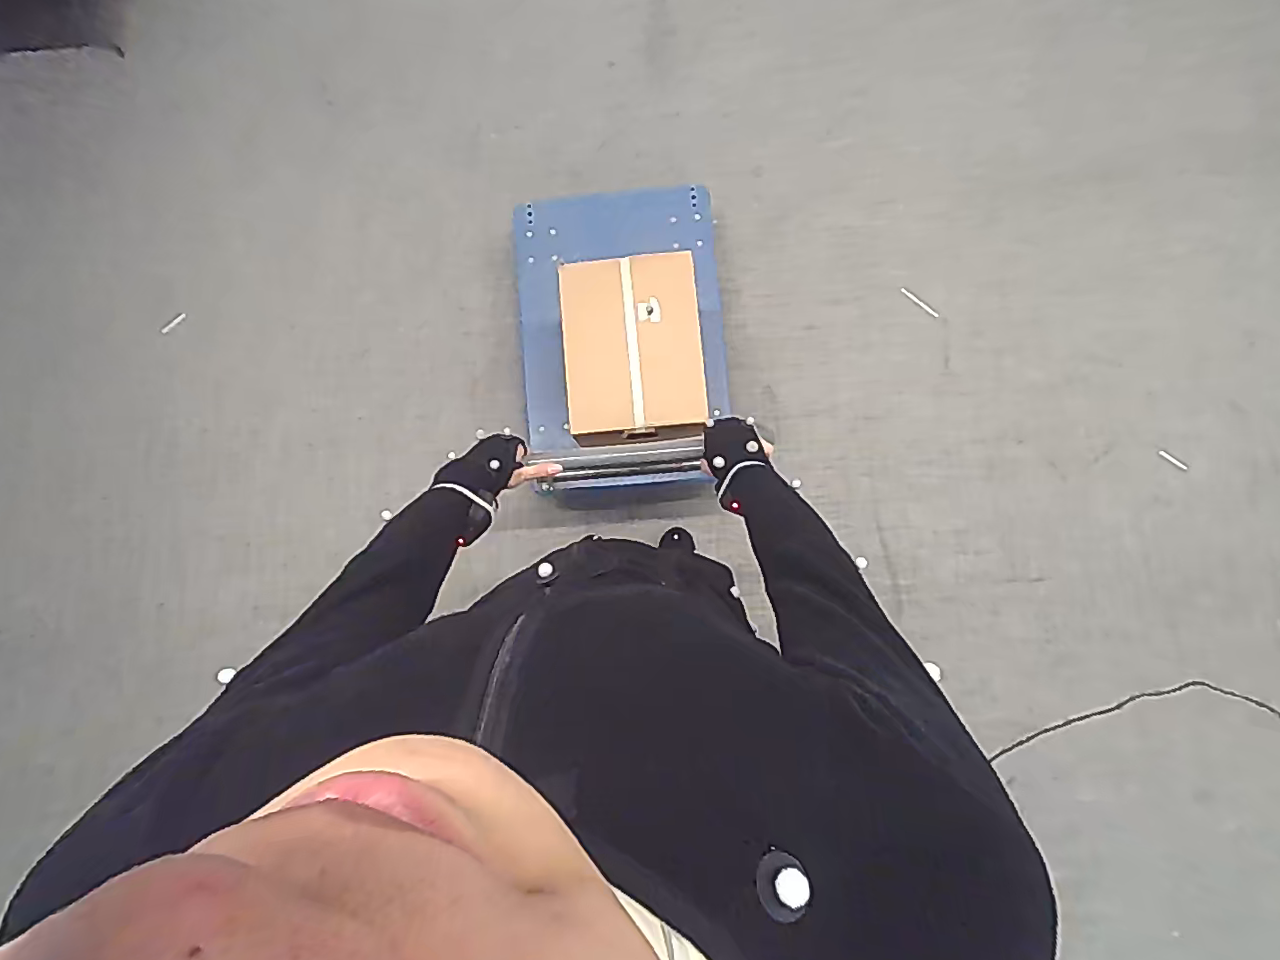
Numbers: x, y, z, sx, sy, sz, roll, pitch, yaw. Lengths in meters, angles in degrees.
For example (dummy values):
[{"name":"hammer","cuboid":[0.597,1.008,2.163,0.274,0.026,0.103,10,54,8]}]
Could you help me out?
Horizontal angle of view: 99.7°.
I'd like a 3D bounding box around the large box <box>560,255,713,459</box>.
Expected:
[{"name":"large box","cuboid":[-0.005,-0.284,1.356,0.320,0.320,0.408,-5,83,1]}]
